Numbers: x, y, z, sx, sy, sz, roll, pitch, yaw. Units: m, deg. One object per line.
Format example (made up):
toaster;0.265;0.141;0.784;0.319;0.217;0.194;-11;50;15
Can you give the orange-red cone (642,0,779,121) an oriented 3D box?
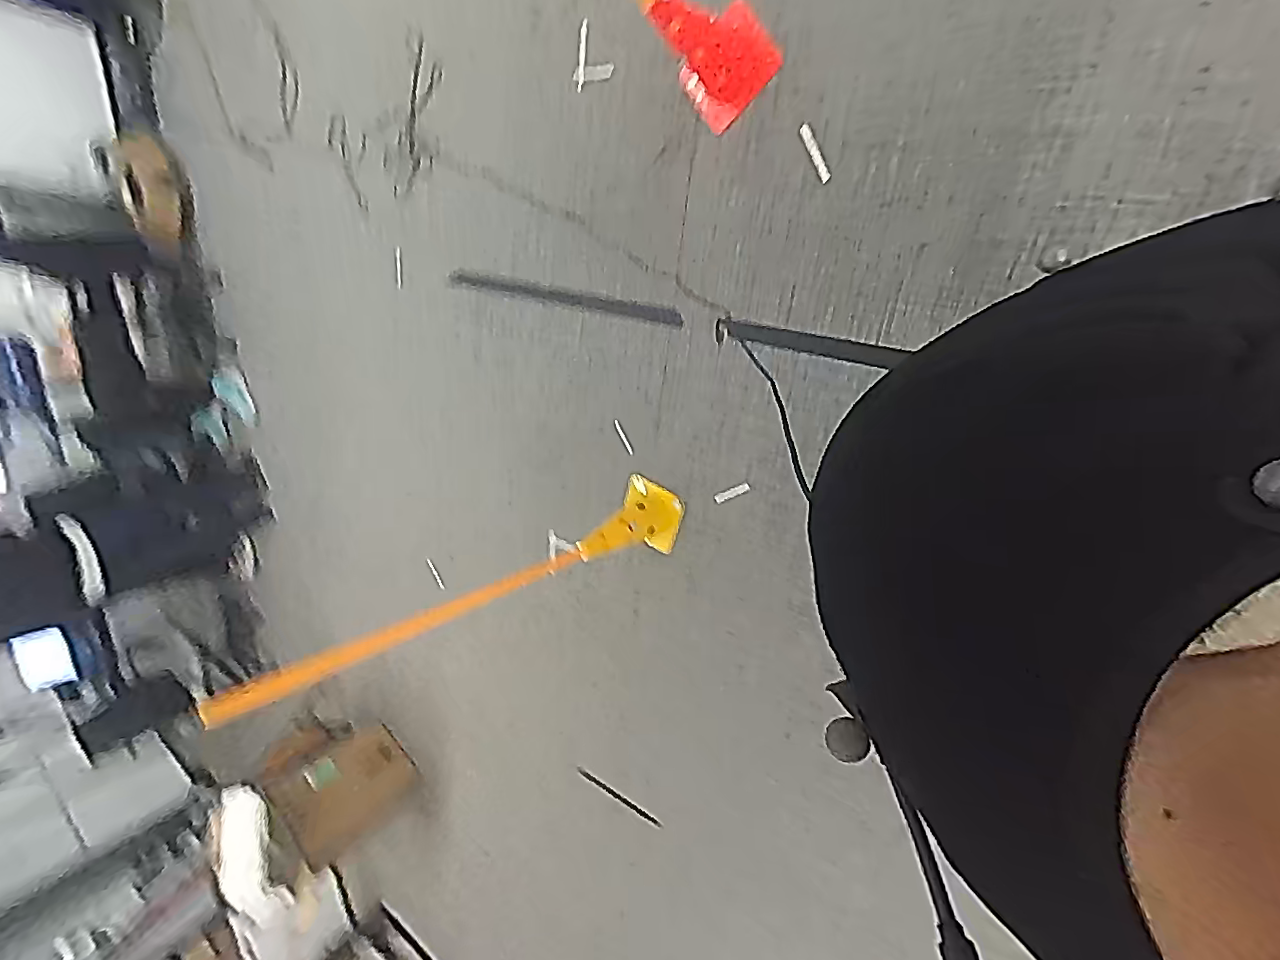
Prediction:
orange-red cone;0.116;-0.947;1.136;0.198;0.360;0.199;-33;85;37
